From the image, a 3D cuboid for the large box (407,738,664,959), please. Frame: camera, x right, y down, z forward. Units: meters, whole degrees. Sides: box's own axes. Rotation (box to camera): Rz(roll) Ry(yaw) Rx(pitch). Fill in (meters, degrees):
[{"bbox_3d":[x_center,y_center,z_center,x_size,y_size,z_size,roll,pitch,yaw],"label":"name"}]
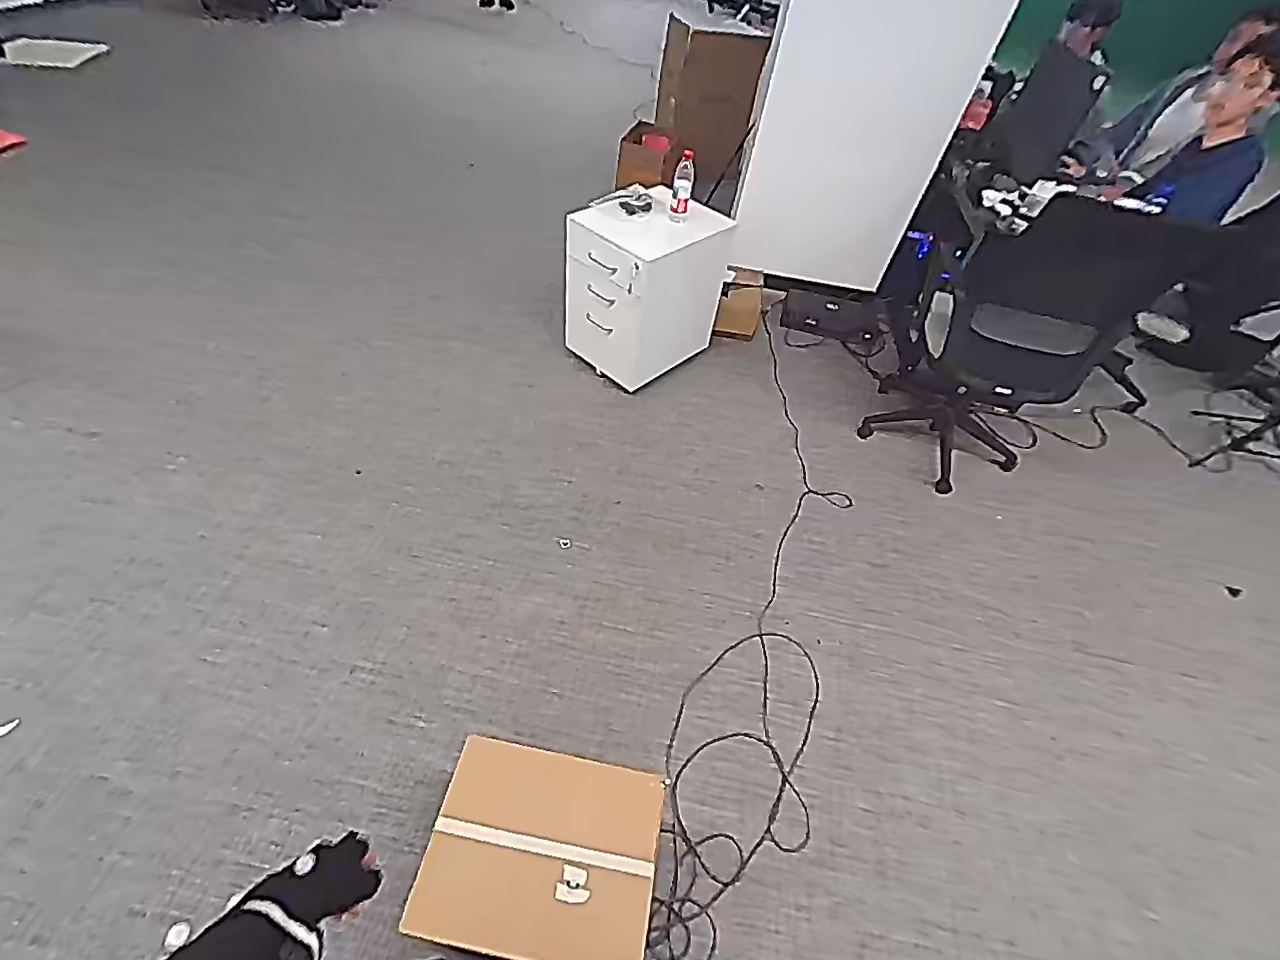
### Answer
[{"bbox_3d":[-0.186,0.763,1.091,0.408,0.320,0.320,12,49,2],"label":"large box"}]
